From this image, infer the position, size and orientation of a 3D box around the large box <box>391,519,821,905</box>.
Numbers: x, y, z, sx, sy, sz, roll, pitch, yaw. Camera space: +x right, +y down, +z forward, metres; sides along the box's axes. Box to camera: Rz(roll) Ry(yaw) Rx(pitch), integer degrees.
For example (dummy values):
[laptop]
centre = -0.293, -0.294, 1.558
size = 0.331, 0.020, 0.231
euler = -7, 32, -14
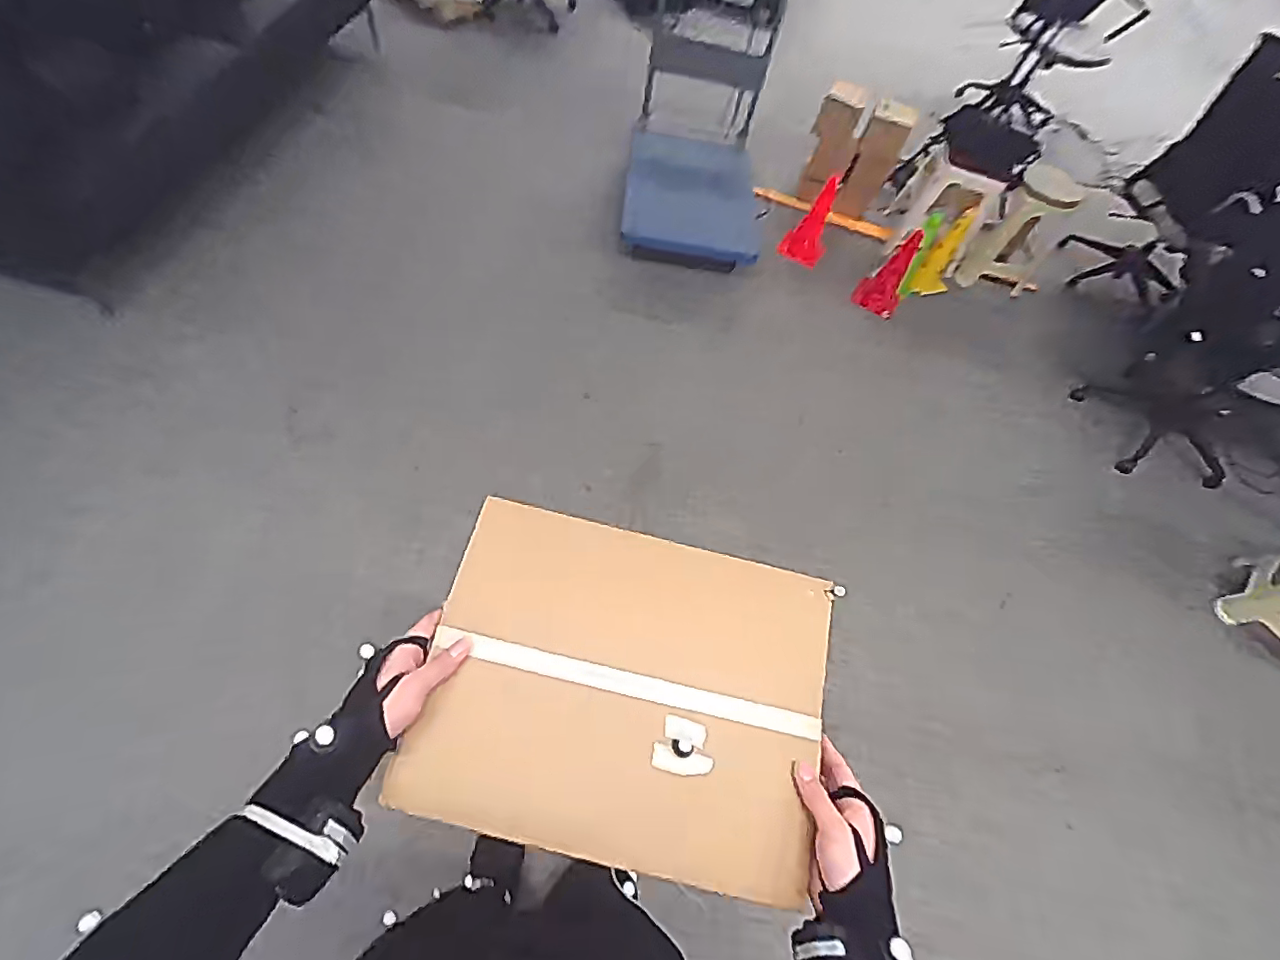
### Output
[large box]
centre = -0.028, 0.279, 0.701
size = 0.408, 0.320, 0.320
euler = 13, 68, 0
